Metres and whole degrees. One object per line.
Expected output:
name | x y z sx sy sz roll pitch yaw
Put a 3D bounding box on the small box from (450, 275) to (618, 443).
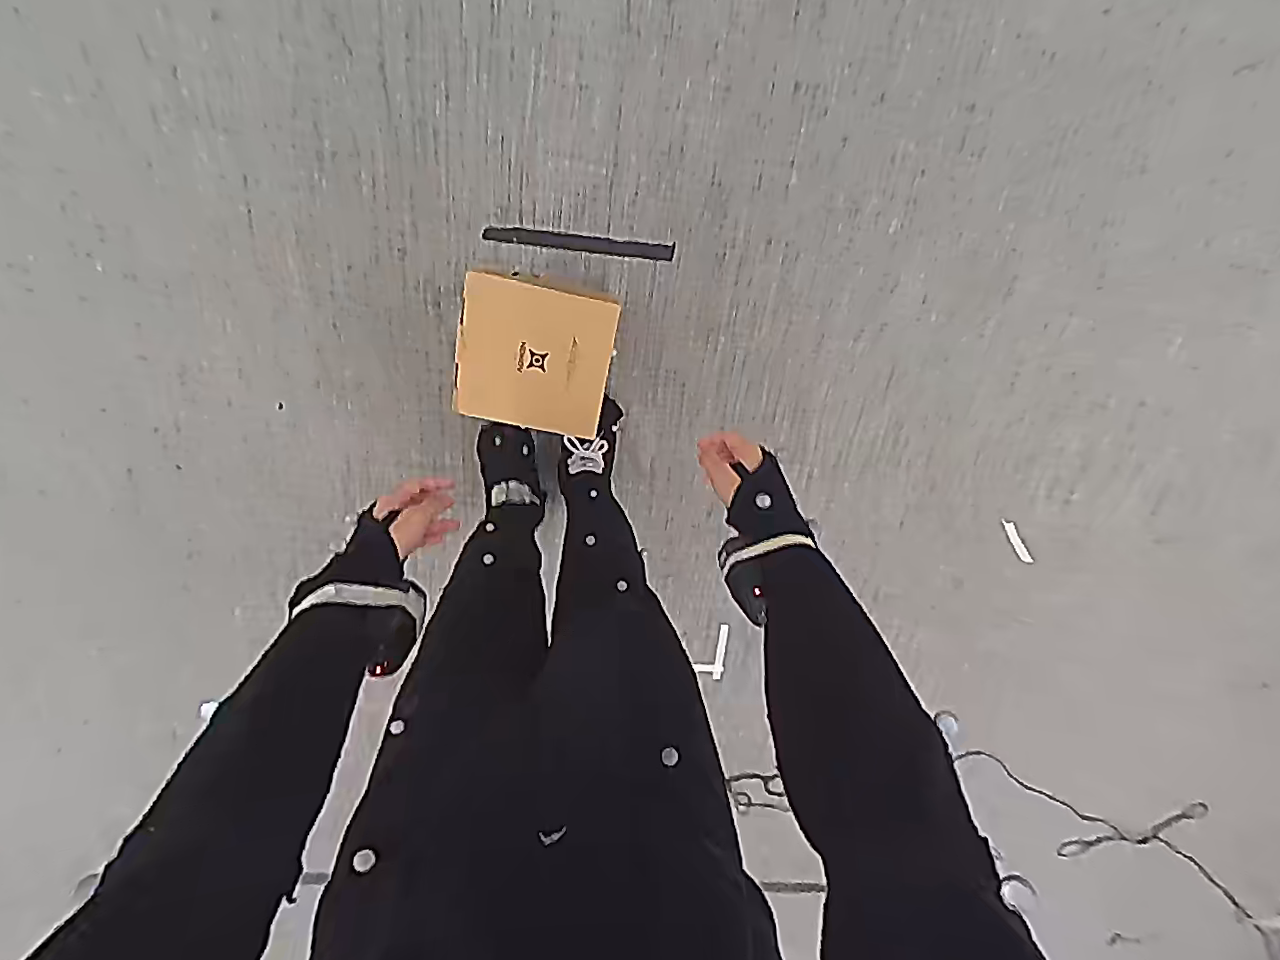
small box | -0.131 -0.164 0.704 0.179 0.176 0.168 10 112 -8
